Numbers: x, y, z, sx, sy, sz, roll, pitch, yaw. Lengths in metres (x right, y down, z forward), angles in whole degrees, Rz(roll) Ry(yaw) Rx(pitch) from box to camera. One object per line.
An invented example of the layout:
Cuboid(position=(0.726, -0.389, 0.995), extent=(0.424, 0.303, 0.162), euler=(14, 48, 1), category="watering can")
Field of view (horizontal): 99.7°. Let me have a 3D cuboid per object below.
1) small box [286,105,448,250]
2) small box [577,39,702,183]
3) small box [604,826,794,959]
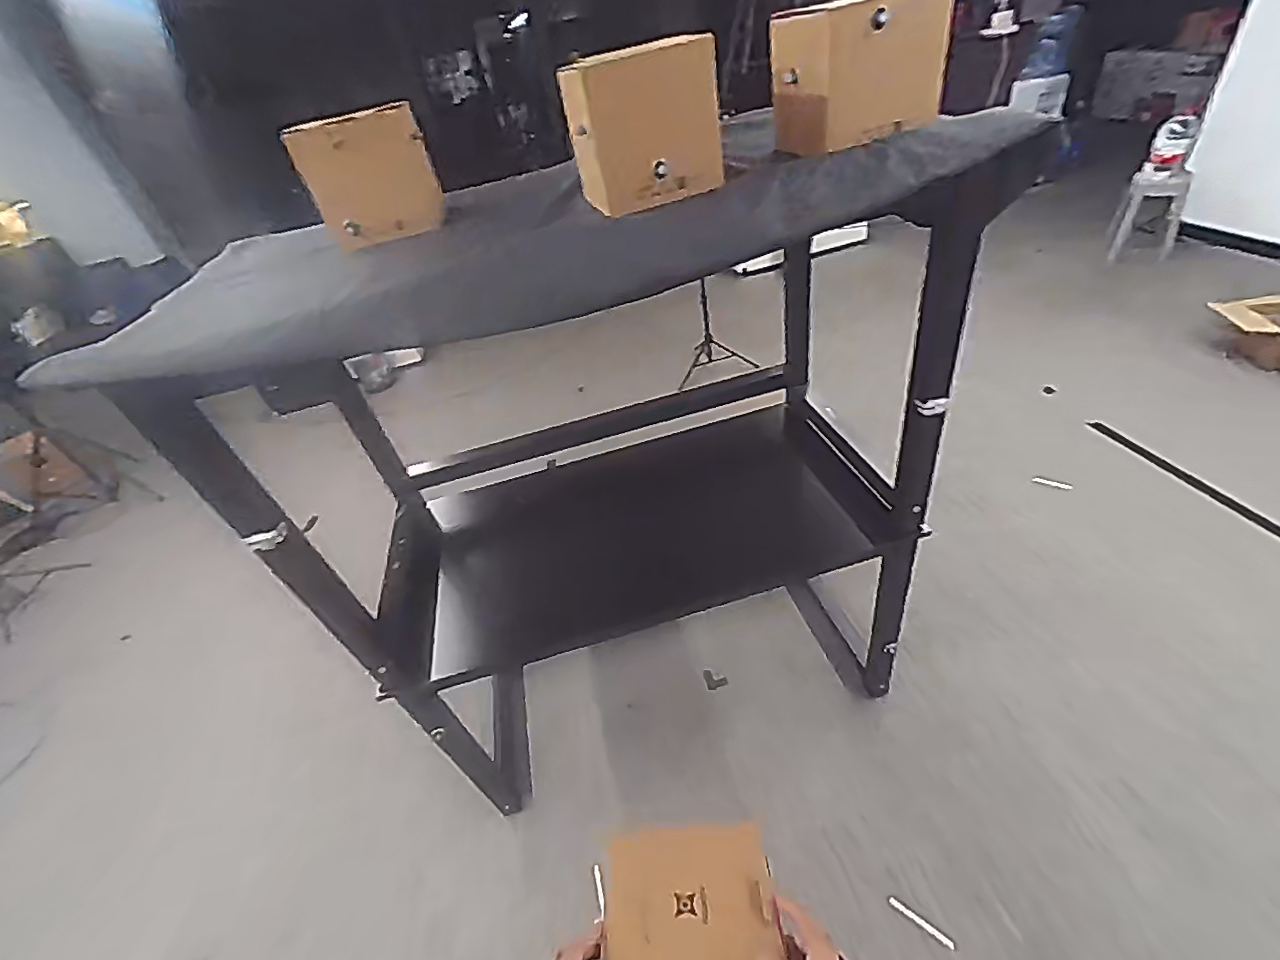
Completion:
Cuboid(position=(-0.430, -0.493, 0.888), extent=(0.168, 0.176, 0.179), euler=(-16, 38, -4), category="small box")
Cuboid(position=(-0.002, -0.621, 0.918), extent=(0.168, 0.176, 0.179), euler=(-16, 38, -2), category="small box")
Cuboid(position=(0.059, 0.495, 0.560), extent=(0.179, 0.176, 0.168), euler=(-3, 19, 3), category="small box")
